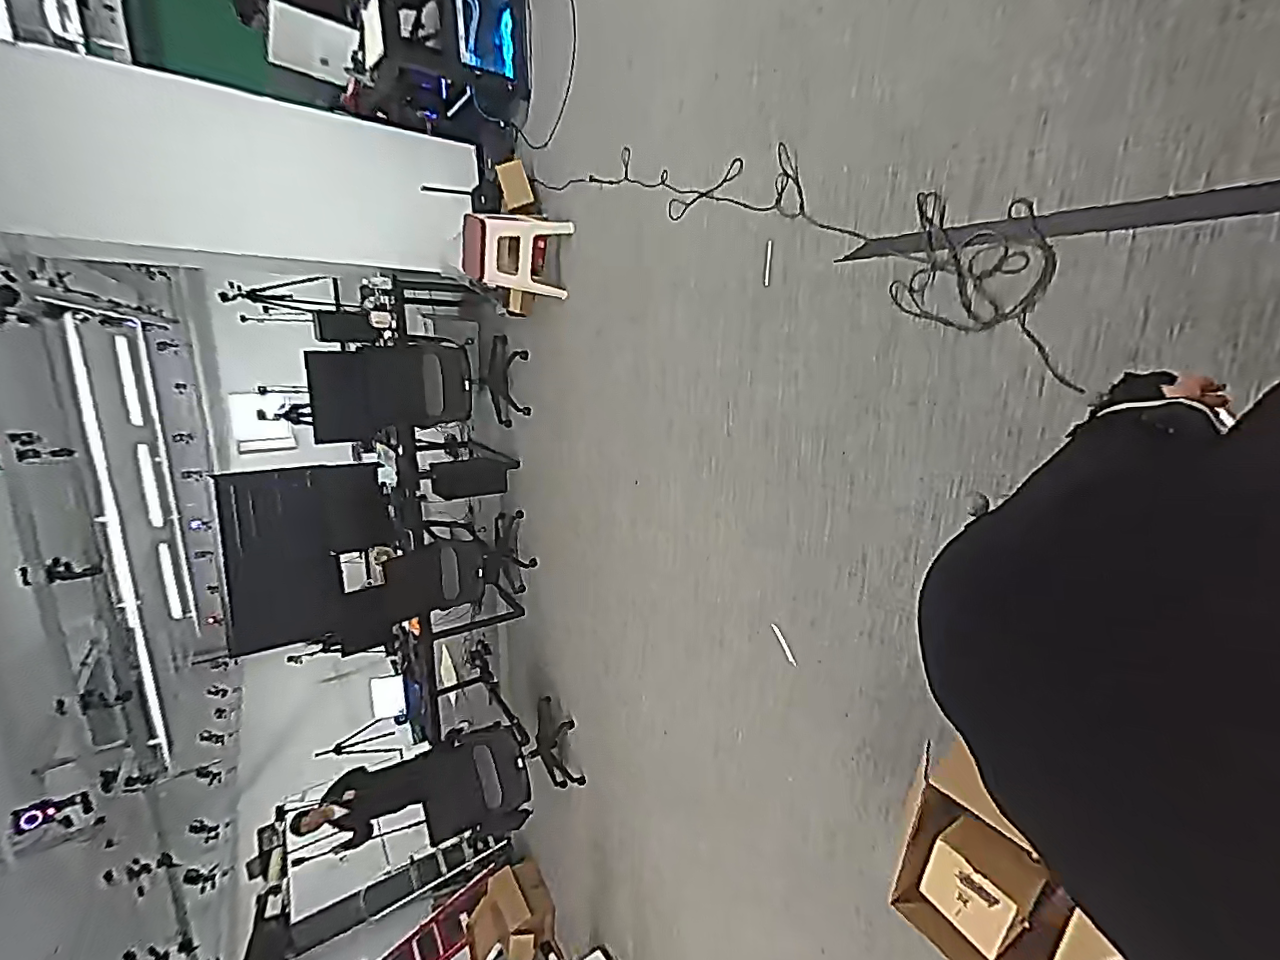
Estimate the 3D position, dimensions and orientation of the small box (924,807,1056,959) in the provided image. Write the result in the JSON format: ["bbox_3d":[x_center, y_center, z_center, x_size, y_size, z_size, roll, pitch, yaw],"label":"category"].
[{"bbox_3d":[0.760,0.861,1.173,0.168,0.176,0.179,33,126,52],"label":"small box"}]
